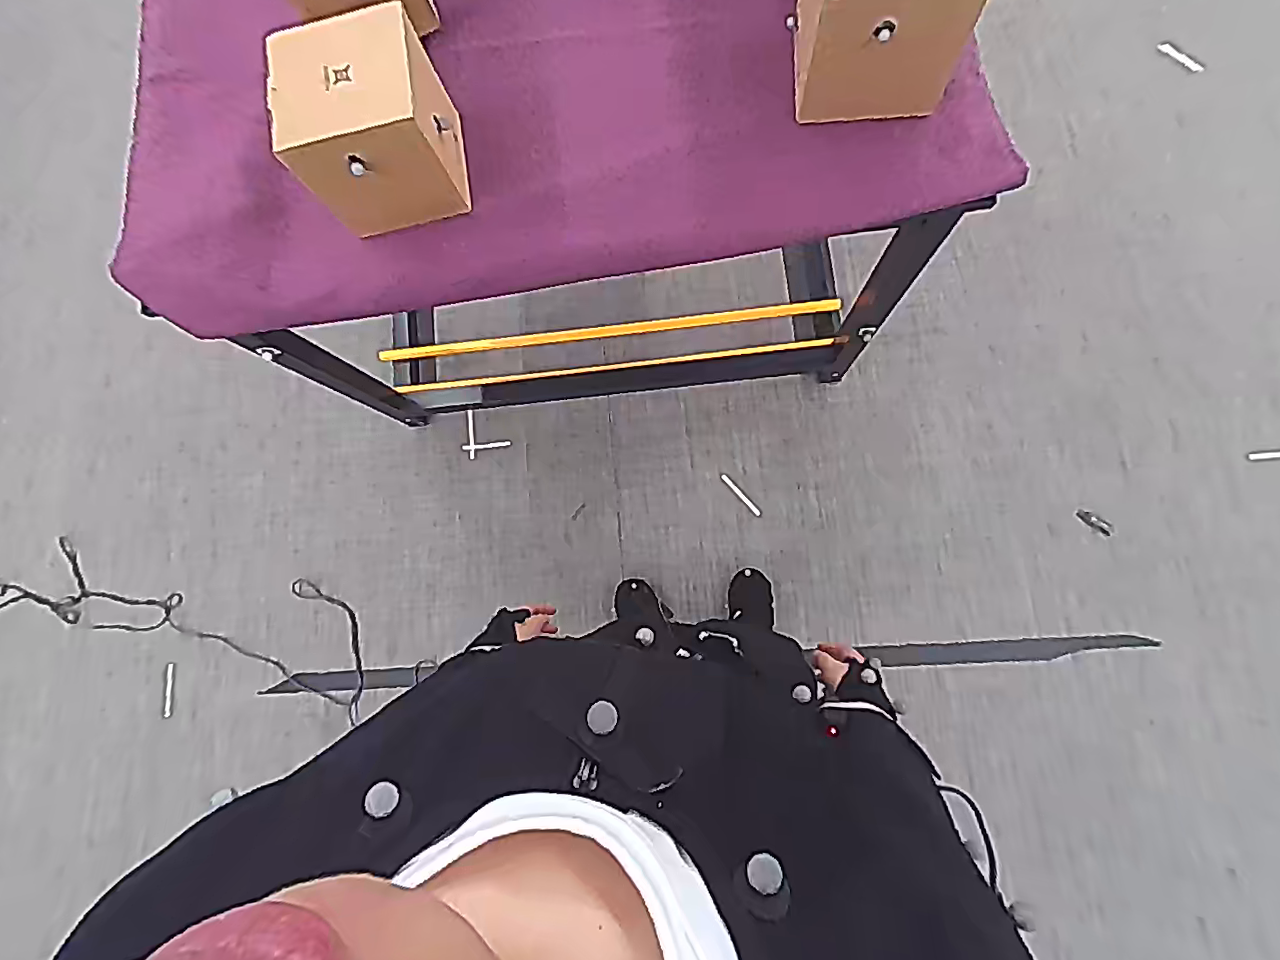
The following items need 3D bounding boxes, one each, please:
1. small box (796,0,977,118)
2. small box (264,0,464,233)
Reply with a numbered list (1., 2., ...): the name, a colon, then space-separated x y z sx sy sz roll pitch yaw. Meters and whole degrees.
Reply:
1. small box: 0.289 -0.576 0.657 0.179 0.176 0.168 0 80 6
2. small box: -0.344 -0.457 0.706 0.179 0.176 0.168 -11 80 4
